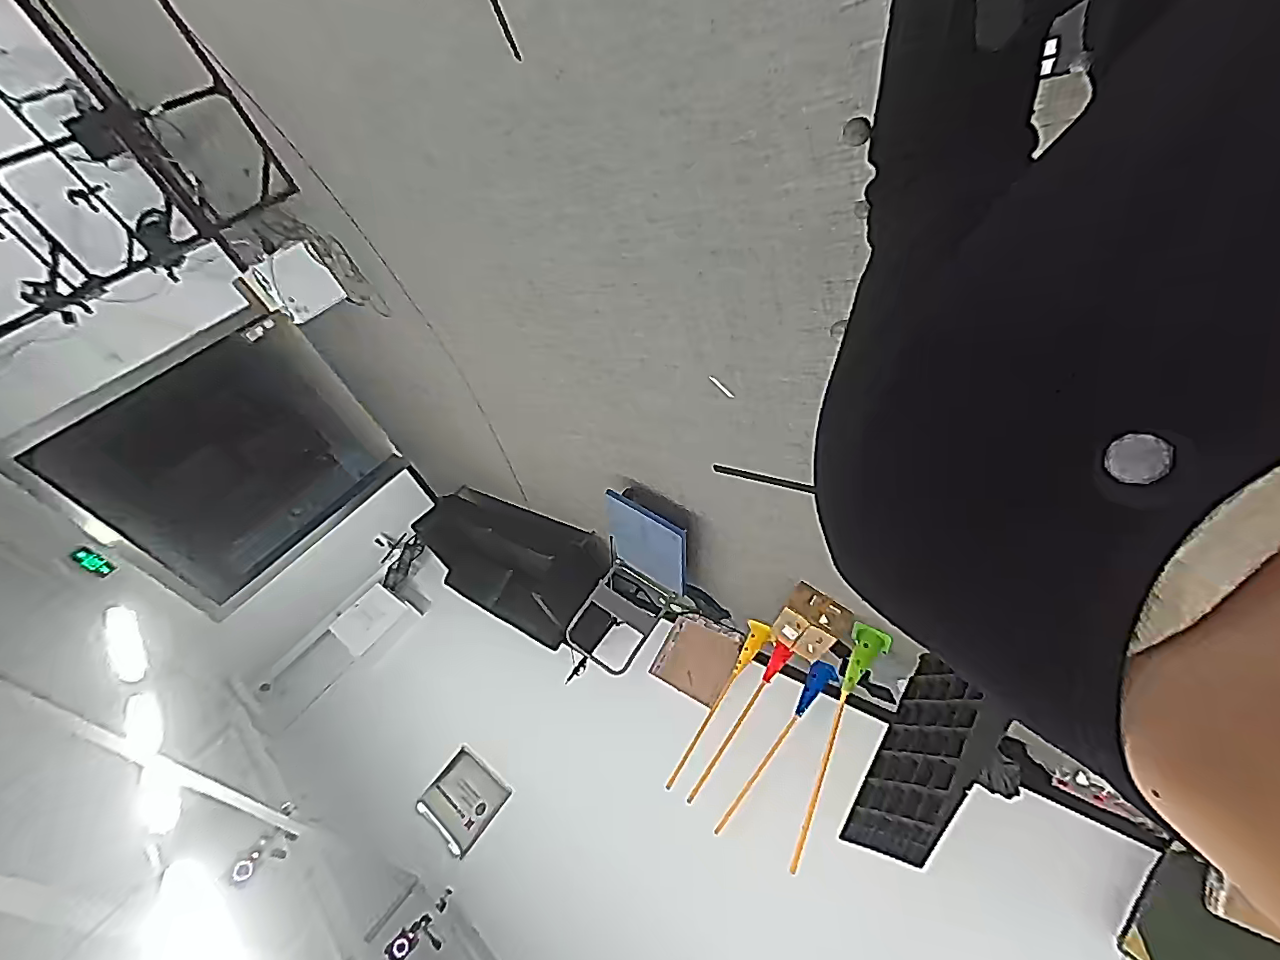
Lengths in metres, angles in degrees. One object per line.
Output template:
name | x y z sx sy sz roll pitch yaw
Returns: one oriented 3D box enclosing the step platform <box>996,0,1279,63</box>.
step platform | 0.897 -0.807 0.737 0.684 0.204 0.286 21 146 37
